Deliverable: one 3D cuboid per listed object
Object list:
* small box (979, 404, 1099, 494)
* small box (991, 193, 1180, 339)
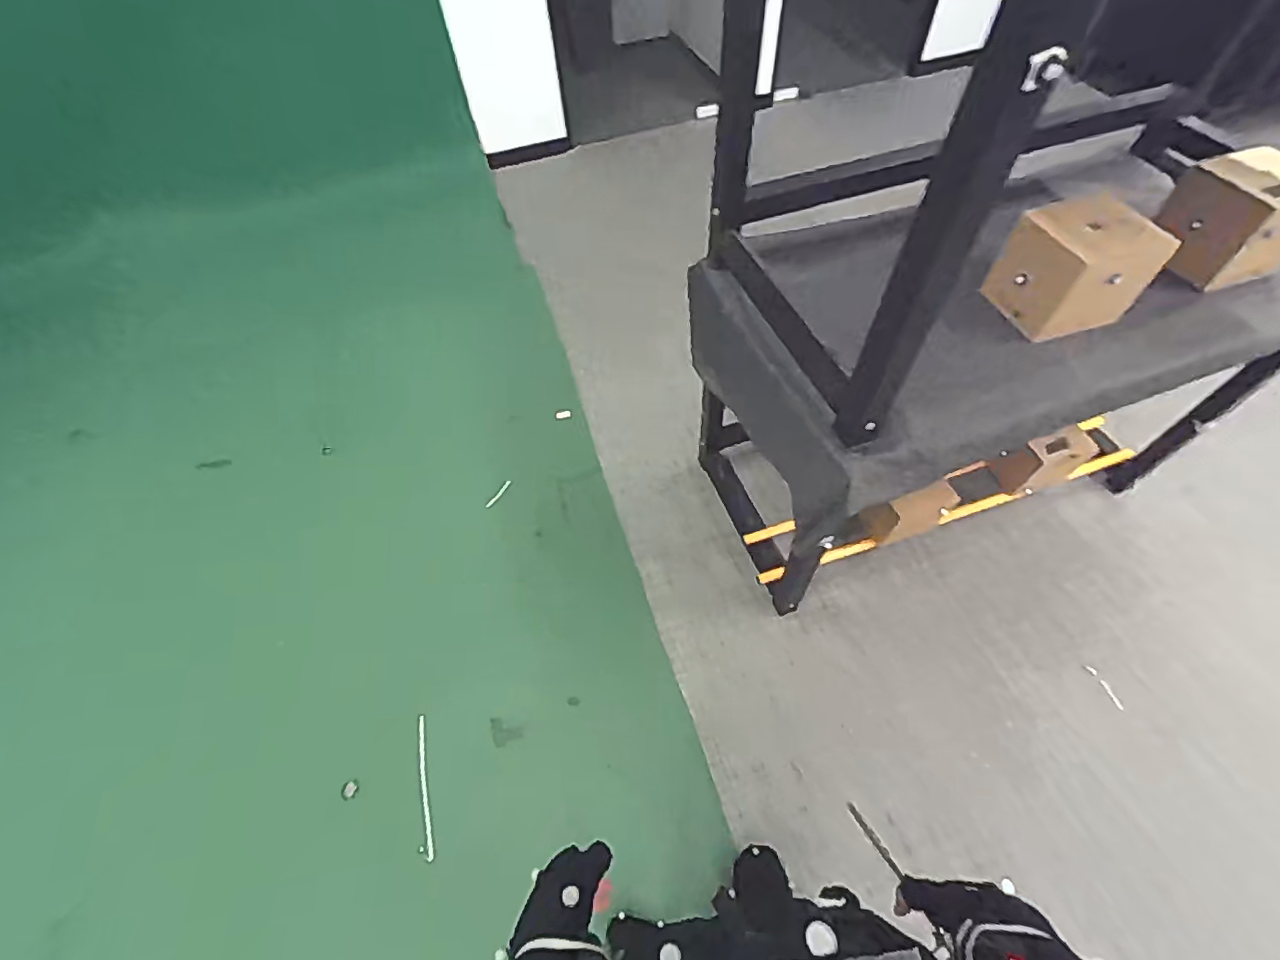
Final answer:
[{"bbox_3d":[1.095,-0.079,1.501,0.168,0.176,0.179,-14,57,-6],"label":"small box"},{"bbox_3d":[0.774,-0.379,0.972,0.179,0.176,0.168,-15,57,-6],"label":"small box"}]
